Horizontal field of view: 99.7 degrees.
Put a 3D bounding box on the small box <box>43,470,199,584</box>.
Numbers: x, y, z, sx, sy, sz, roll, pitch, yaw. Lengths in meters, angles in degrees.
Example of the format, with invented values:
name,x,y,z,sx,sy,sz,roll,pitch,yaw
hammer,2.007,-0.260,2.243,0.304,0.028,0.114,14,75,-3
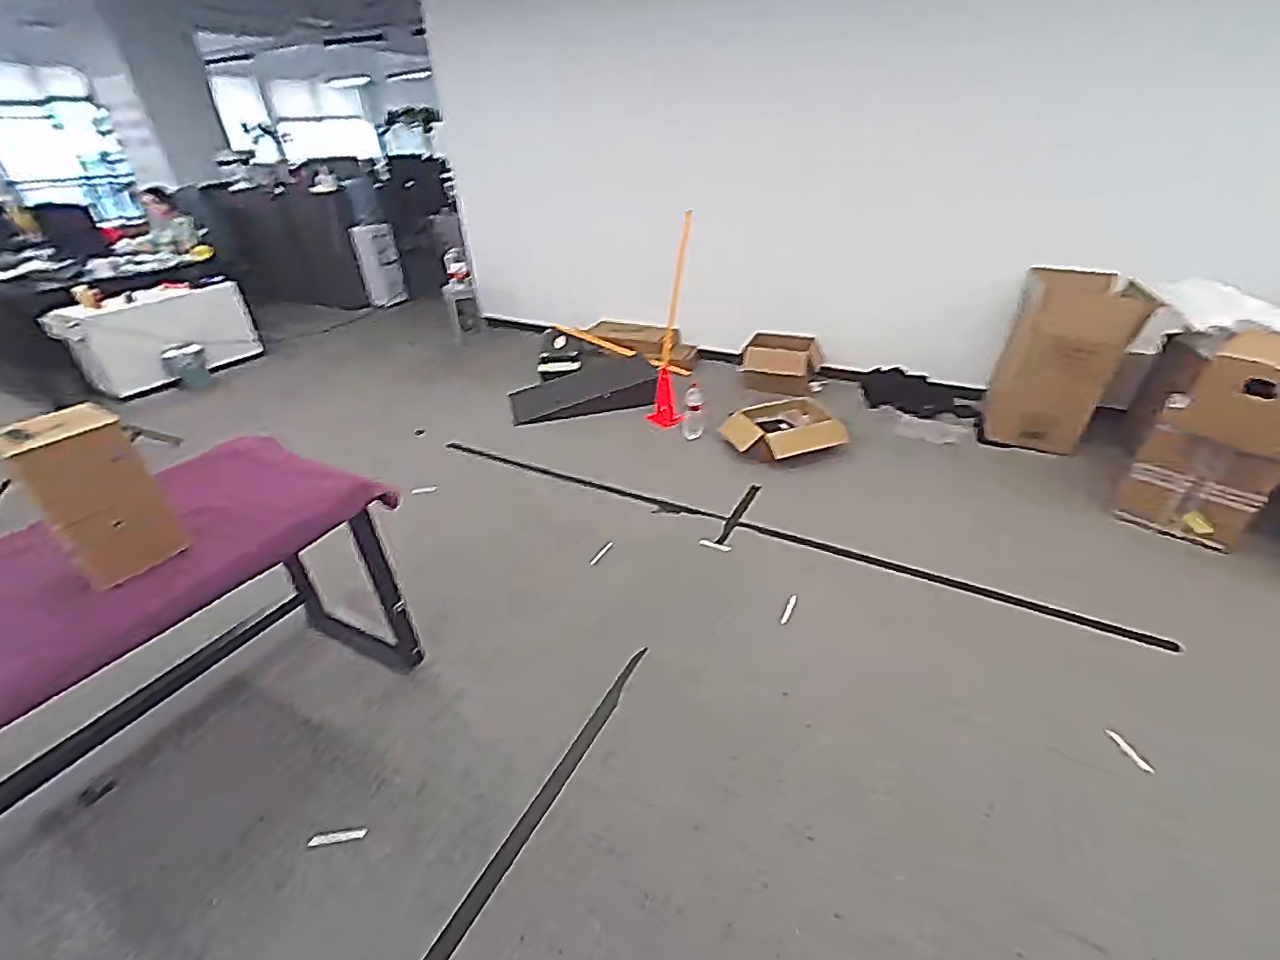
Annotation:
name,x,y,z,sx,sy,sz,roll,pitch,yaw
small box,-1.155,0.105,1.215,0.168,0.176,0.179,17,37,26
